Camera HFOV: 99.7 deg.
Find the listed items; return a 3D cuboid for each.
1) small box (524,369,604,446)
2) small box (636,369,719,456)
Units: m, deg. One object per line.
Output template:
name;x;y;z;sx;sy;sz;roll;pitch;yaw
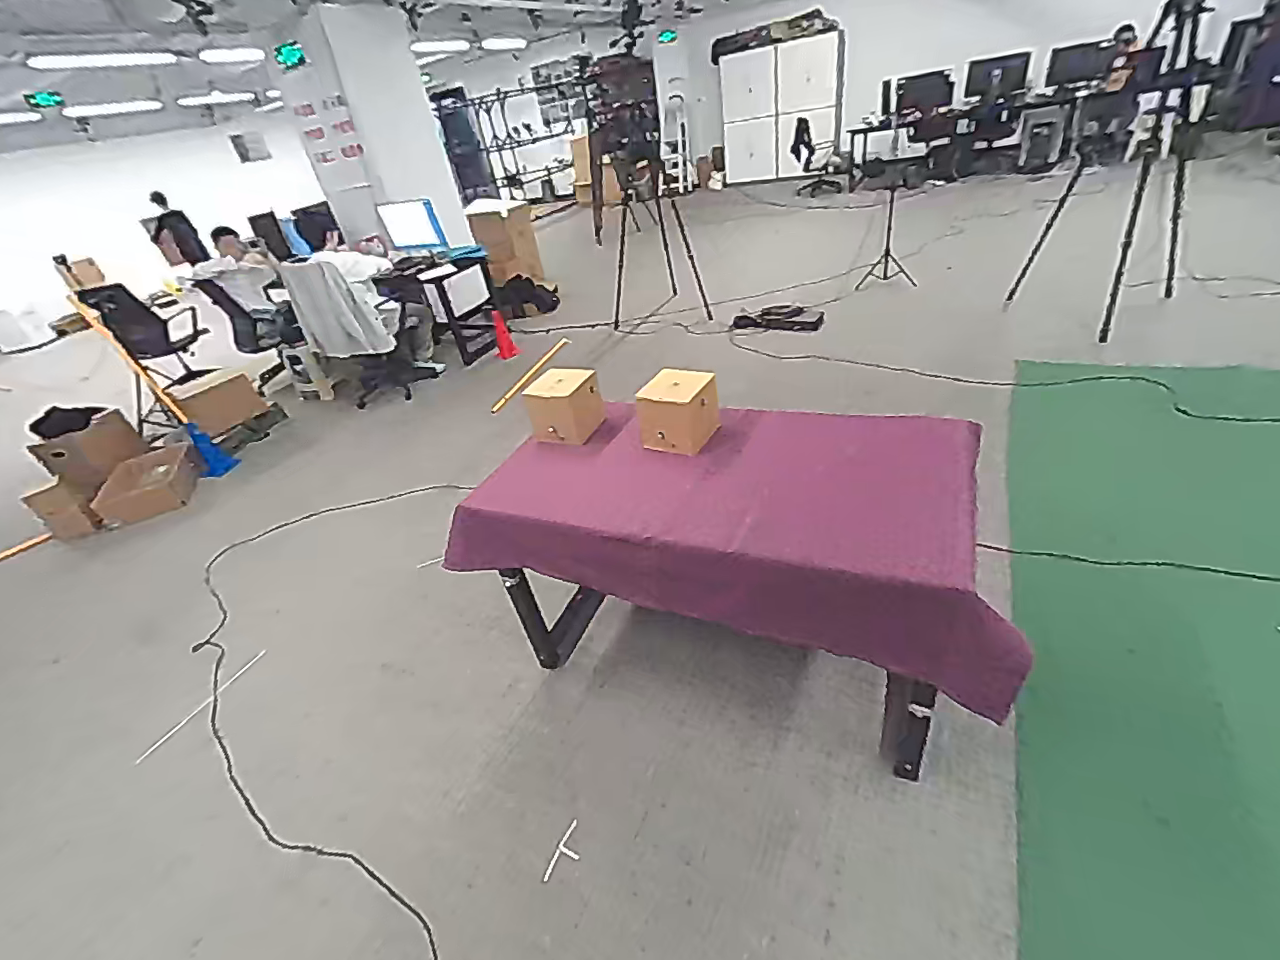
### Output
small box;-0.225;-0.226;1.664;0.168;0.176;0.179;7;39;26
small box;0.112;-0.193;1.520;0.168;0.176;0.179;12;43;31
